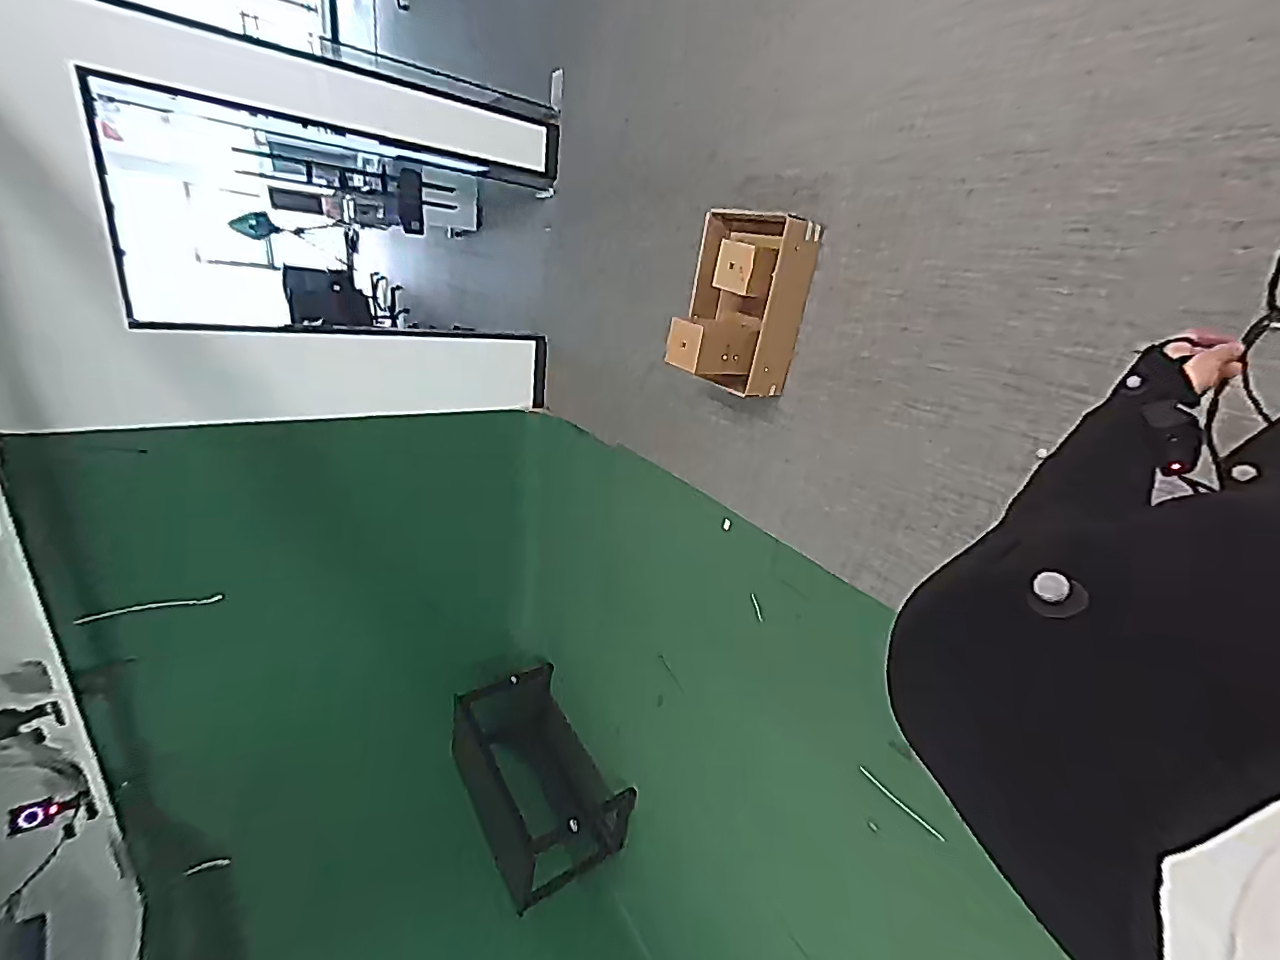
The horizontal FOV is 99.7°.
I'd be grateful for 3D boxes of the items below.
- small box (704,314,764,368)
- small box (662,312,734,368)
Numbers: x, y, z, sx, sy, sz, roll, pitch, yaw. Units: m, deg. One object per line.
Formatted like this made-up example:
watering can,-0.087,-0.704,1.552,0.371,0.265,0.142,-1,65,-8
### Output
small box,0.338,-0.527,2.059,0.179,0.176,0.168,38,126,45
small box,0.209,-0.506,1.962,0.179,0.176,0.168,36,125,44
